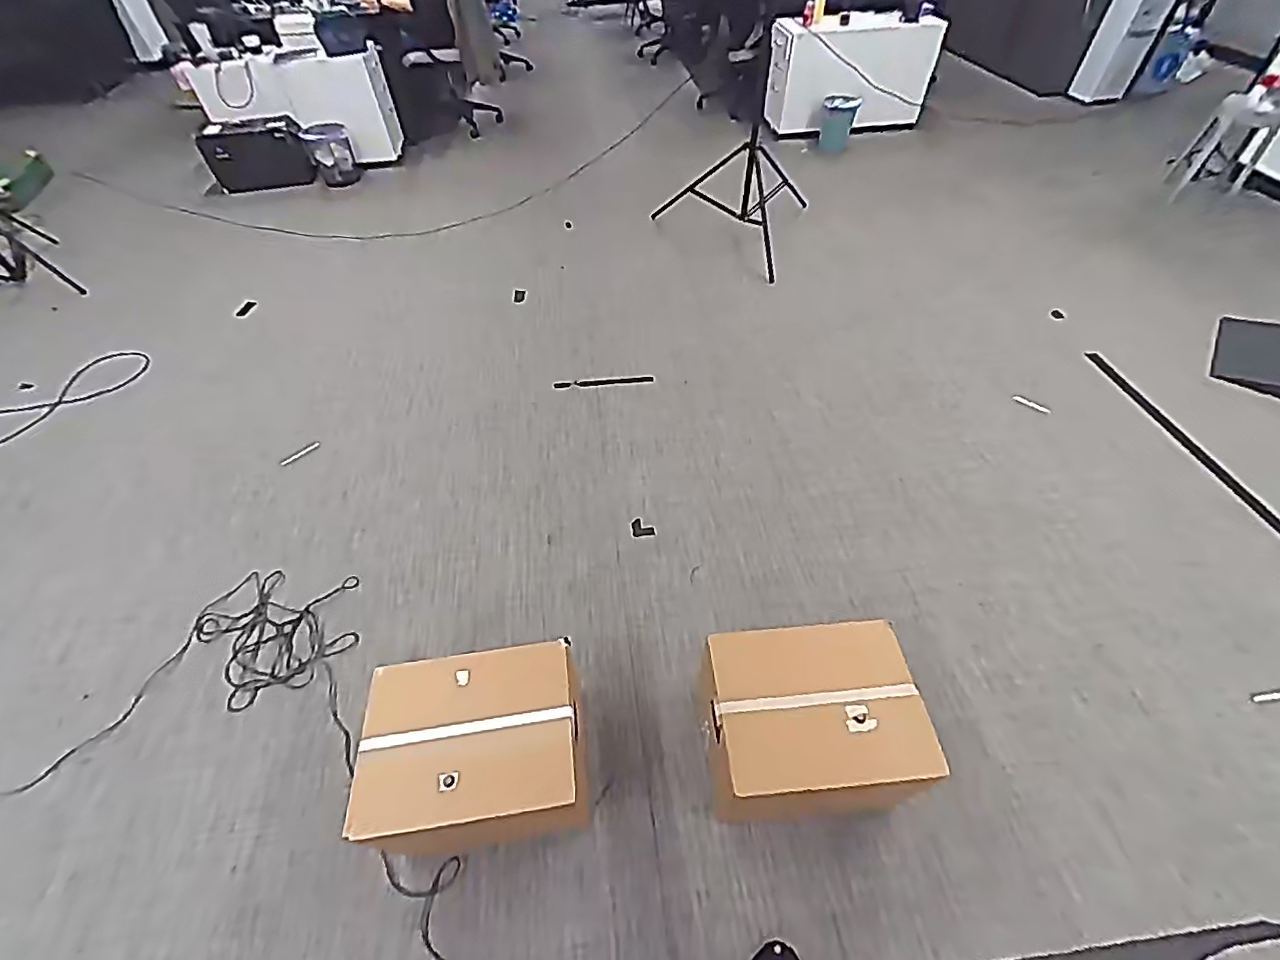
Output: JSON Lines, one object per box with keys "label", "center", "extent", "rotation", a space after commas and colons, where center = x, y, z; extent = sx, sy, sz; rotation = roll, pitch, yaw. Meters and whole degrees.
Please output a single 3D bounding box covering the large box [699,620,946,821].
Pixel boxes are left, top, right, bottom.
{"label": "large box", "center": [0.362, 0.537, 1.203], "extent": [0.408, 0.320, 0.320], "rotation": [-4, 50, -3]}
